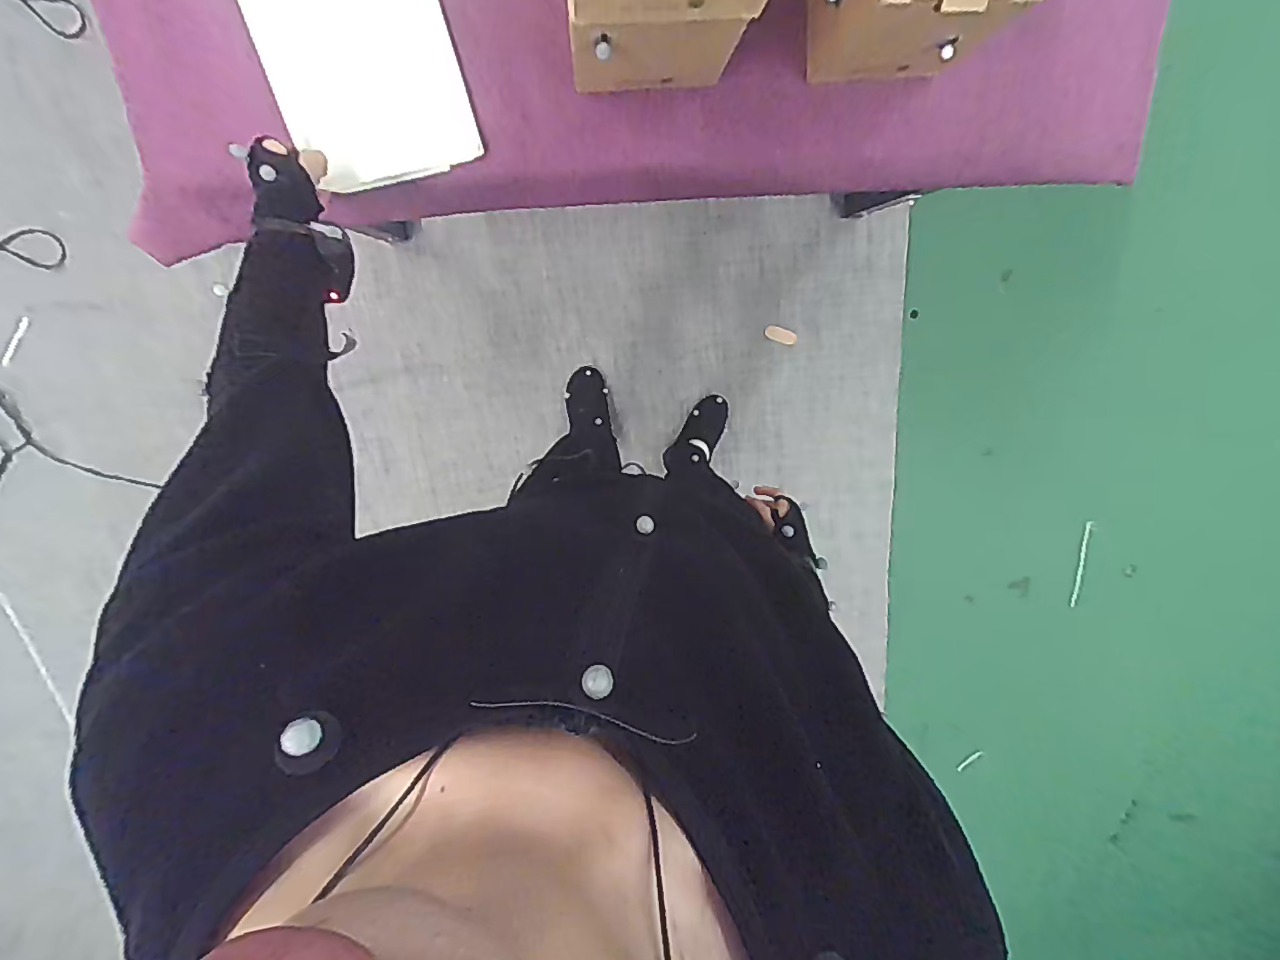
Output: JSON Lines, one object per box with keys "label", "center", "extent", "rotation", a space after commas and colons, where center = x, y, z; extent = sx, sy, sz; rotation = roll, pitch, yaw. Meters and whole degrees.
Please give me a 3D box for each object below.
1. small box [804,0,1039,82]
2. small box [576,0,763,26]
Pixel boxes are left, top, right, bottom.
{"label": "small box", "center": [0.279, -0.536, 0.552], "extent": [0.168, 0.176, 0.179], "rotation": [-5, 106, -5]}
{"label": "small box", "center": [0.026, -0.457, 0.379], "extent": [0.168, 0.176, 0.179], "rotation": [-5, 106, -4]}
